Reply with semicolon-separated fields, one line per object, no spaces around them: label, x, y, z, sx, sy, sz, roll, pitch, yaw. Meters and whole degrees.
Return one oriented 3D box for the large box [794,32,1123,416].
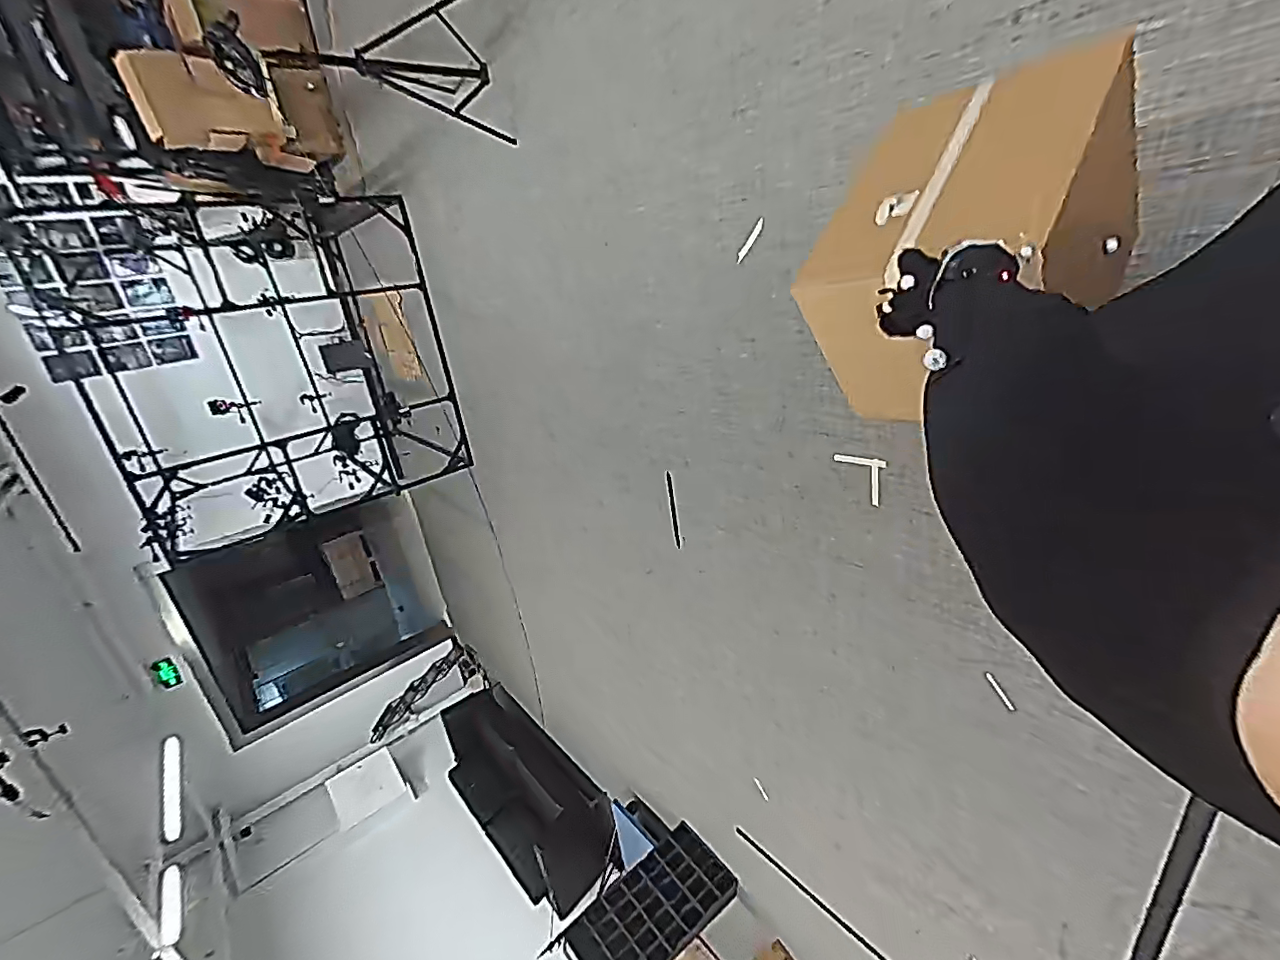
large box;0.509;-0.354;0.844;0.320;0.408;0.320;11;156;50
